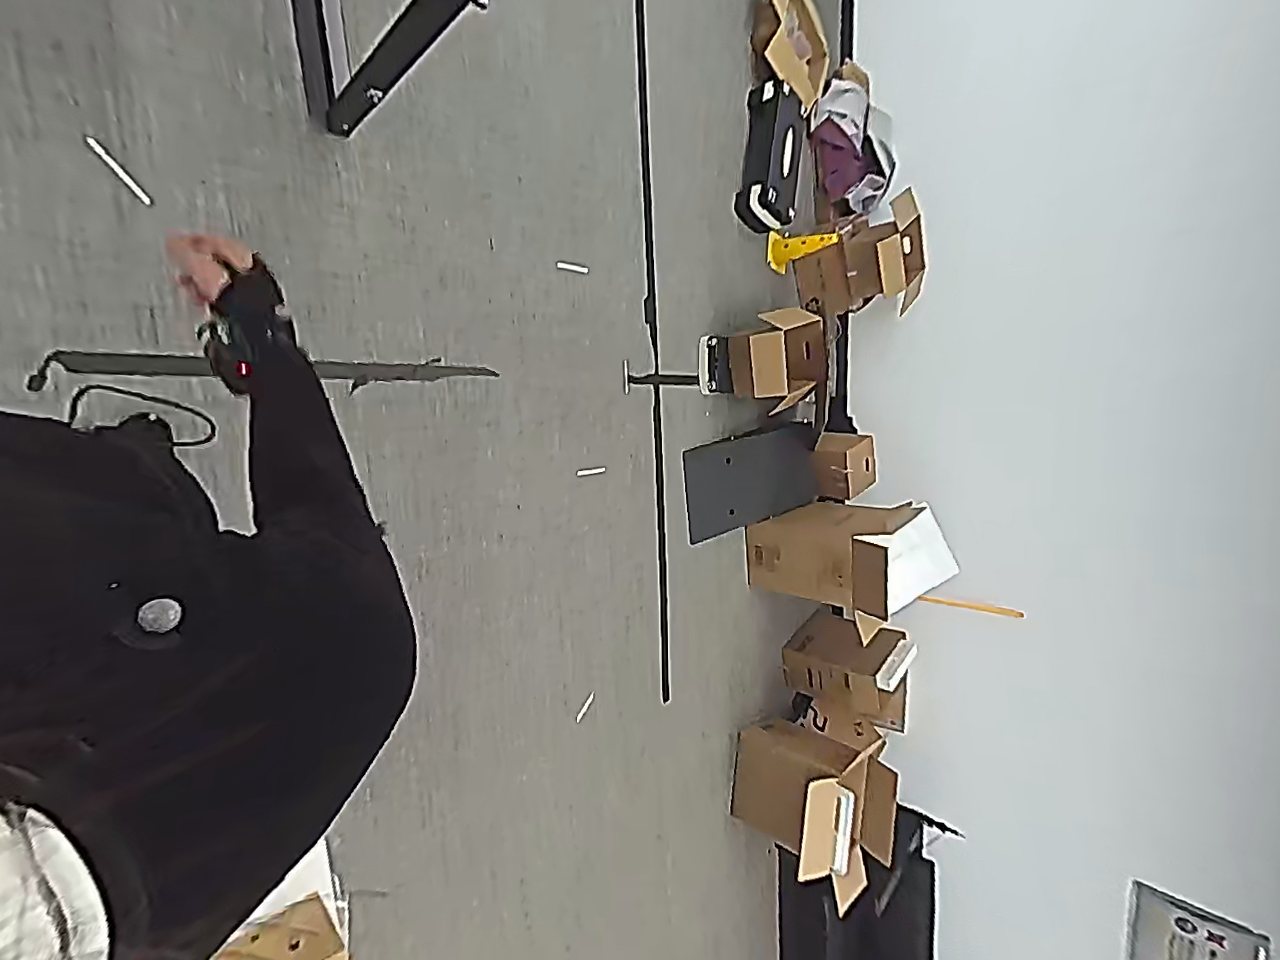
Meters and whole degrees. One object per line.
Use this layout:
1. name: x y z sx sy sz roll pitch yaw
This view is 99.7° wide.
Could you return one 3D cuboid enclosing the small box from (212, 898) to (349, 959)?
1. small box: -0.615 0.876 0.933 0.168 0.176 0.179 -11 103 -45
